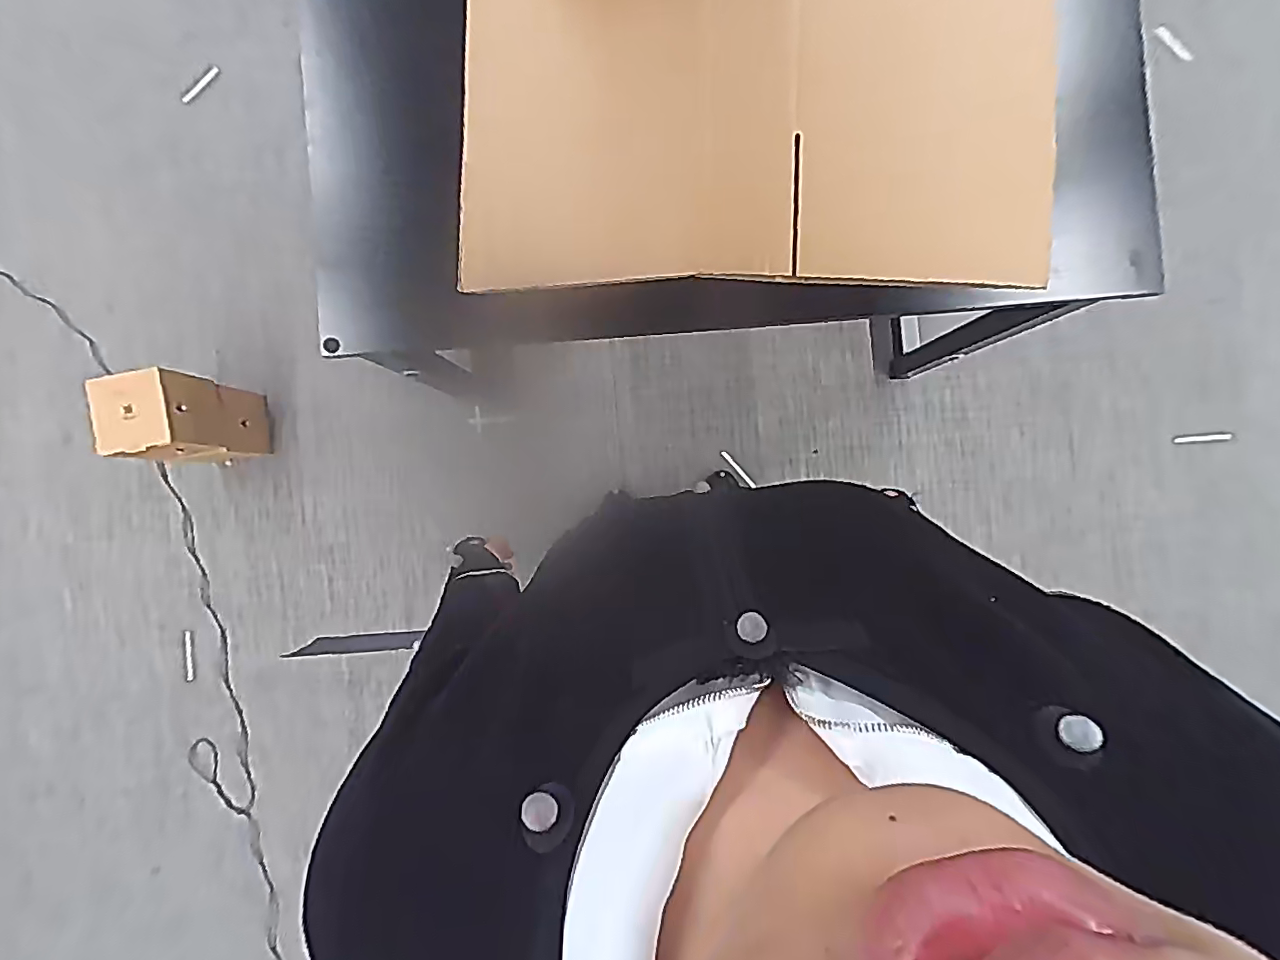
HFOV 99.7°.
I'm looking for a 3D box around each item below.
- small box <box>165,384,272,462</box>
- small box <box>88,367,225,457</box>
[{"bbox_3d":[-1.122,-0.145,1.436,0.168,0.176,0.179,-8,90,1],"label":"small box"},{"bbox_3d":[-1.126,-0.151,1.274,0.168,0.176,0.179,-11,89,0],"label":"small box"}]
